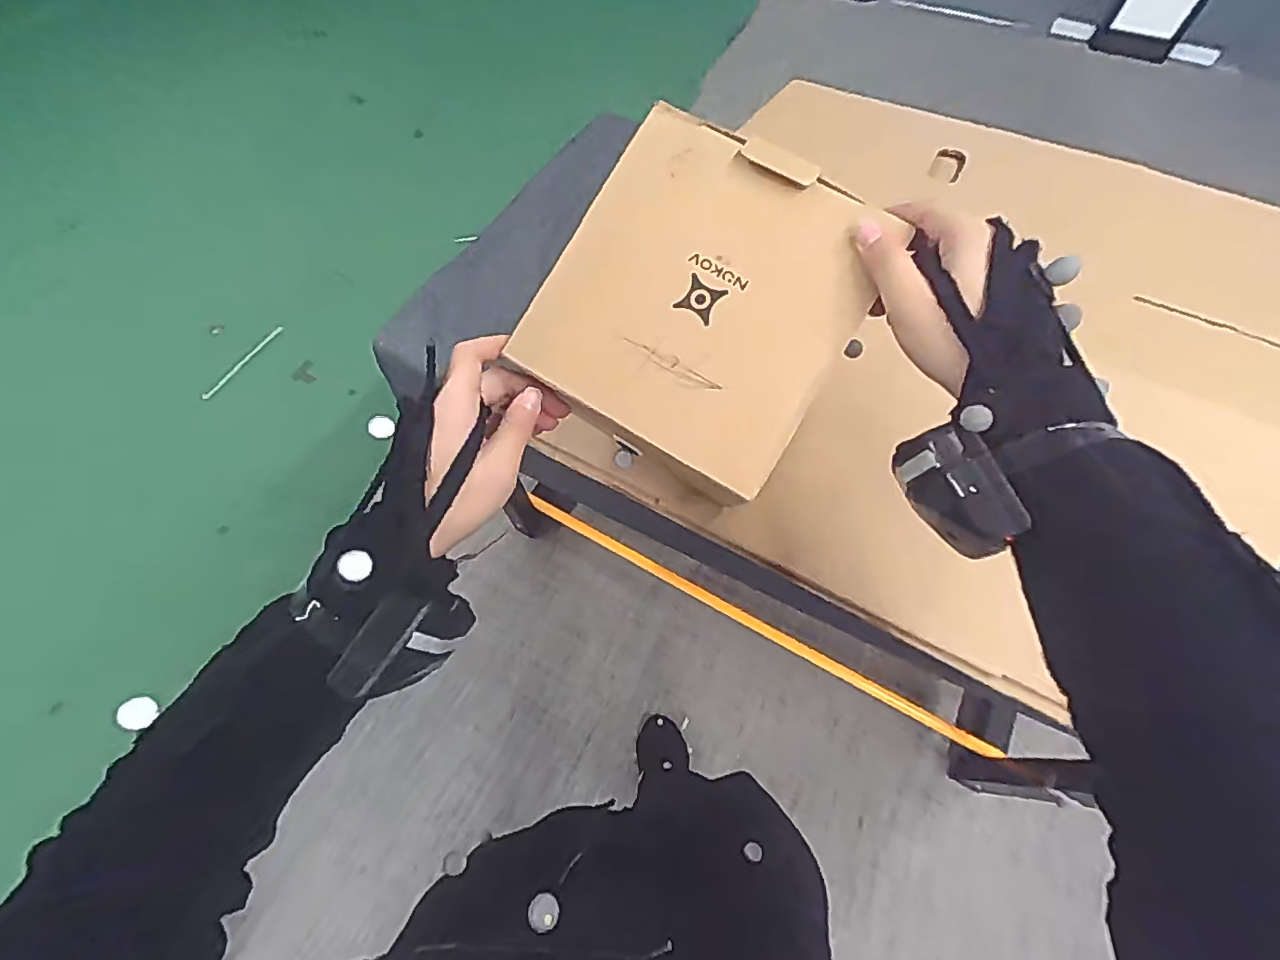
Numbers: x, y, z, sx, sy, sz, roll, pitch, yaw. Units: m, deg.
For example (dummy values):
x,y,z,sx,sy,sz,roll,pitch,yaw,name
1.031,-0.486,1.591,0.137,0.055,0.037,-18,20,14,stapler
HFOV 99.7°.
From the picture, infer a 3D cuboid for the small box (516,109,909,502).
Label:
x,y,z,sx,sy,sz,roll,pitch,yaw,name
0.045,-0.099,0.386,0.168,0.176,0.179,31,89,7,small box
